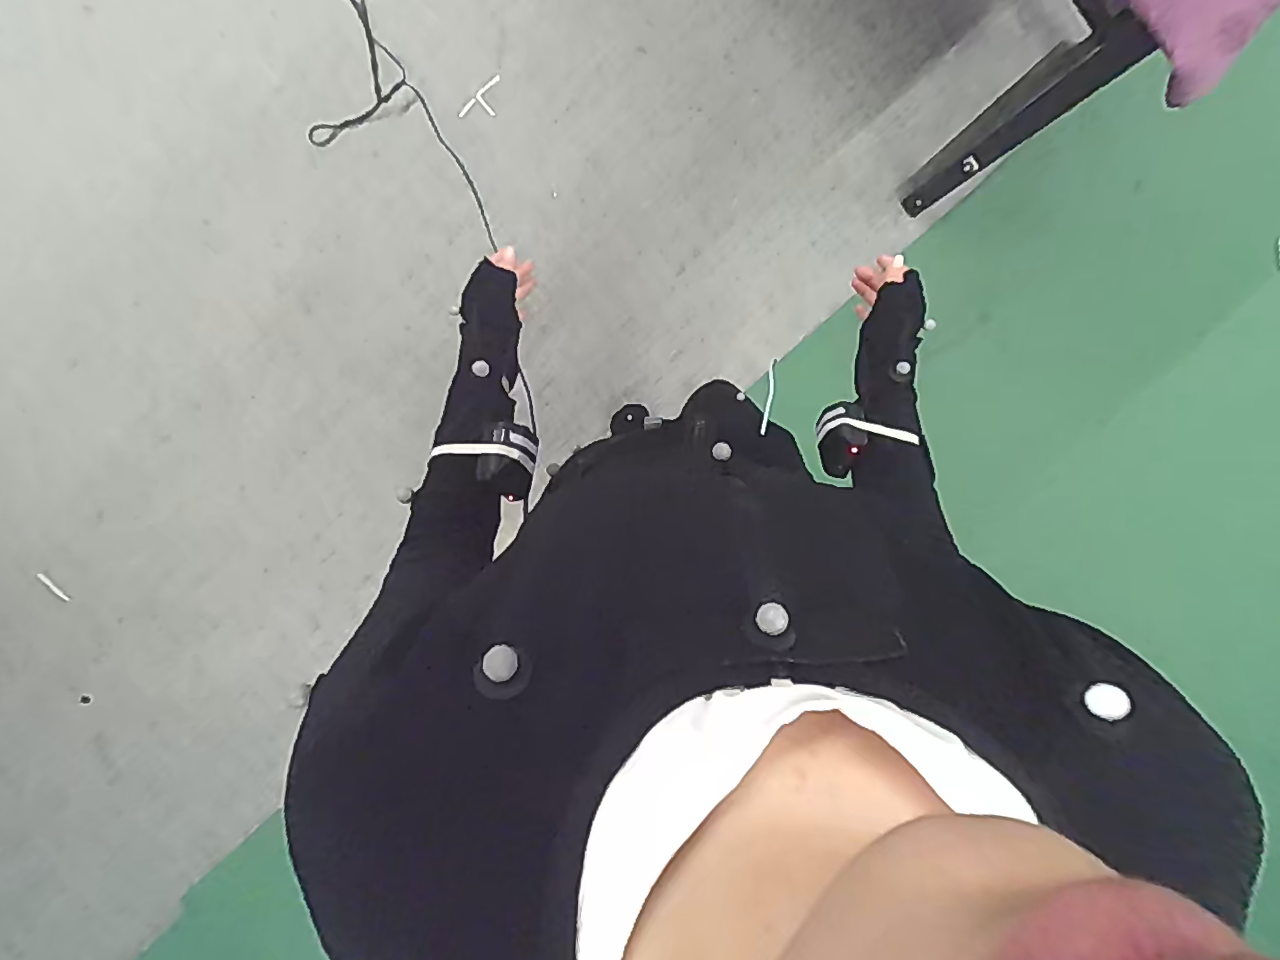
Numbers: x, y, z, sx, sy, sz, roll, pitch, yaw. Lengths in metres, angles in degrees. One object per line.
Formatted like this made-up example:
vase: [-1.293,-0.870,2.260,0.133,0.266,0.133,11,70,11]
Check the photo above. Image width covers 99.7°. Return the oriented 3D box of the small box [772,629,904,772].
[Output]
small box: [0.393,0.445,1.116,0.179,0.176,0.168,-39,98,6]
